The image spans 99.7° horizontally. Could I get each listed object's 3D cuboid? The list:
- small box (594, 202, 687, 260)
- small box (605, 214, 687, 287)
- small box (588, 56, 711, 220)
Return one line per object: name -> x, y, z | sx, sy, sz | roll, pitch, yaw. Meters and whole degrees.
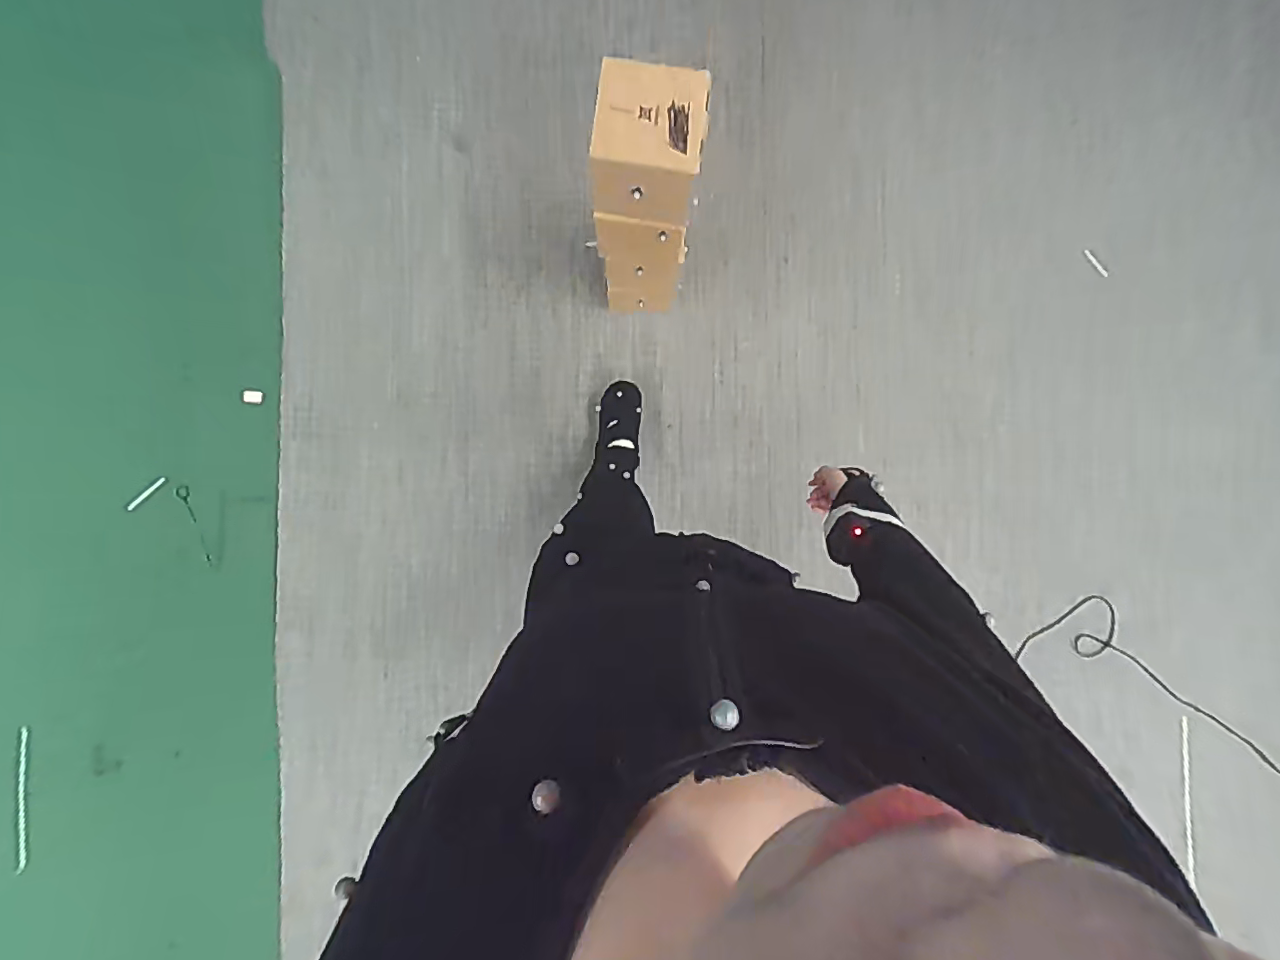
small box -> 0.005, -0.564, 1.092 | 0.179, 0.176, 0.168 | 6, 89, -2
small box -> 0.013, -0.561, 1.255 | 0.179, 0.176, 0.168 | 3, 90, -2
small box -> 0.014, -0.572, 0.928 | 0.179, 0.176, 0.168 | 8, 88, -1
